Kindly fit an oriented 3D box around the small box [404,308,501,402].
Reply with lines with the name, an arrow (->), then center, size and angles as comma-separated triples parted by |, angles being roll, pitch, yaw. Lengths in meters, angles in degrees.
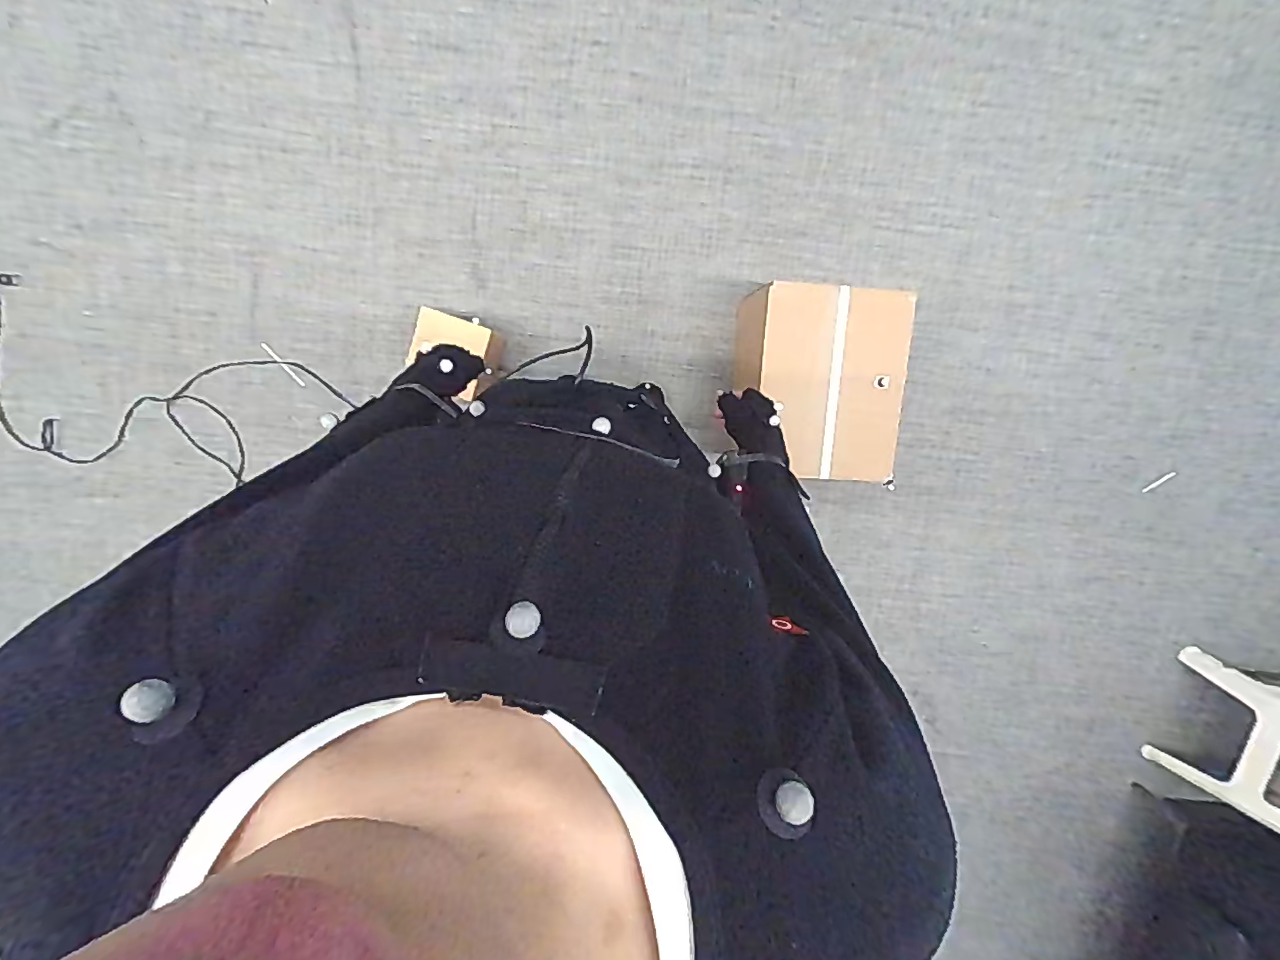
small box -> -0.451, -0.304, 1.329 | 0.168, 0.176, 0.179 | 18, 101, -6
